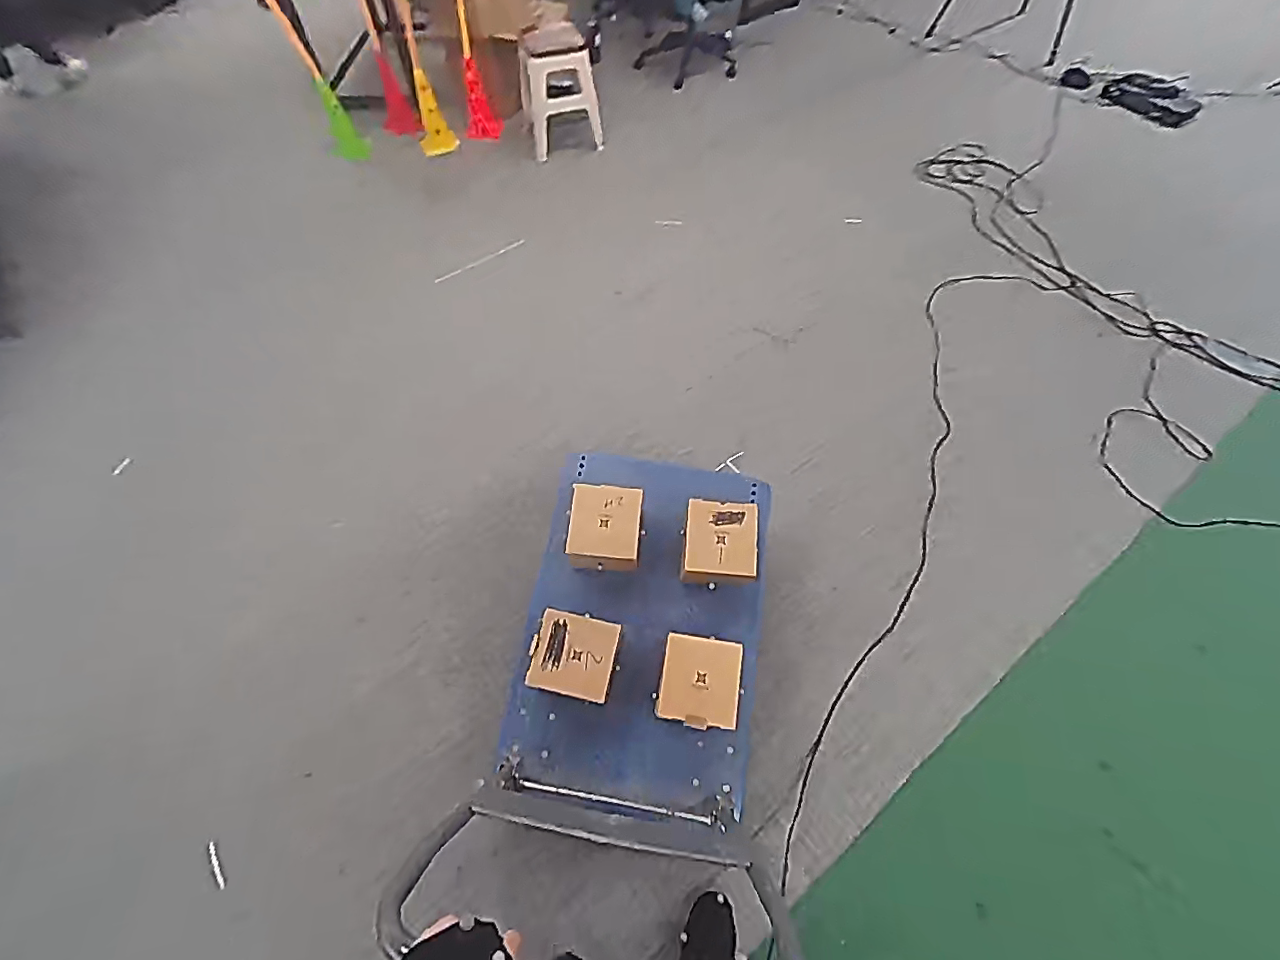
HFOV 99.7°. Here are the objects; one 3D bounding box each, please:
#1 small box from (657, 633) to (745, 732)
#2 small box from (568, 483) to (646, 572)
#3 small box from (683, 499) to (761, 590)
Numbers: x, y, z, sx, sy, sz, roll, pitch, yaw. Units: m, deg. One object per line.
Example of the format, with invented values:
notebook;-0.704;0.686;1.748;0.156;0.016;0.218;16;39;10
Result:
small box;0.133;0.455;1.218;0.168;0.176;0.179;9;70;3
small box;-0.076;0.124;1.343;0.168;0.176;0.179;6;69;1
small box;0.197;0.163;1.330;0.168;0.176;0.179;6;70;2
